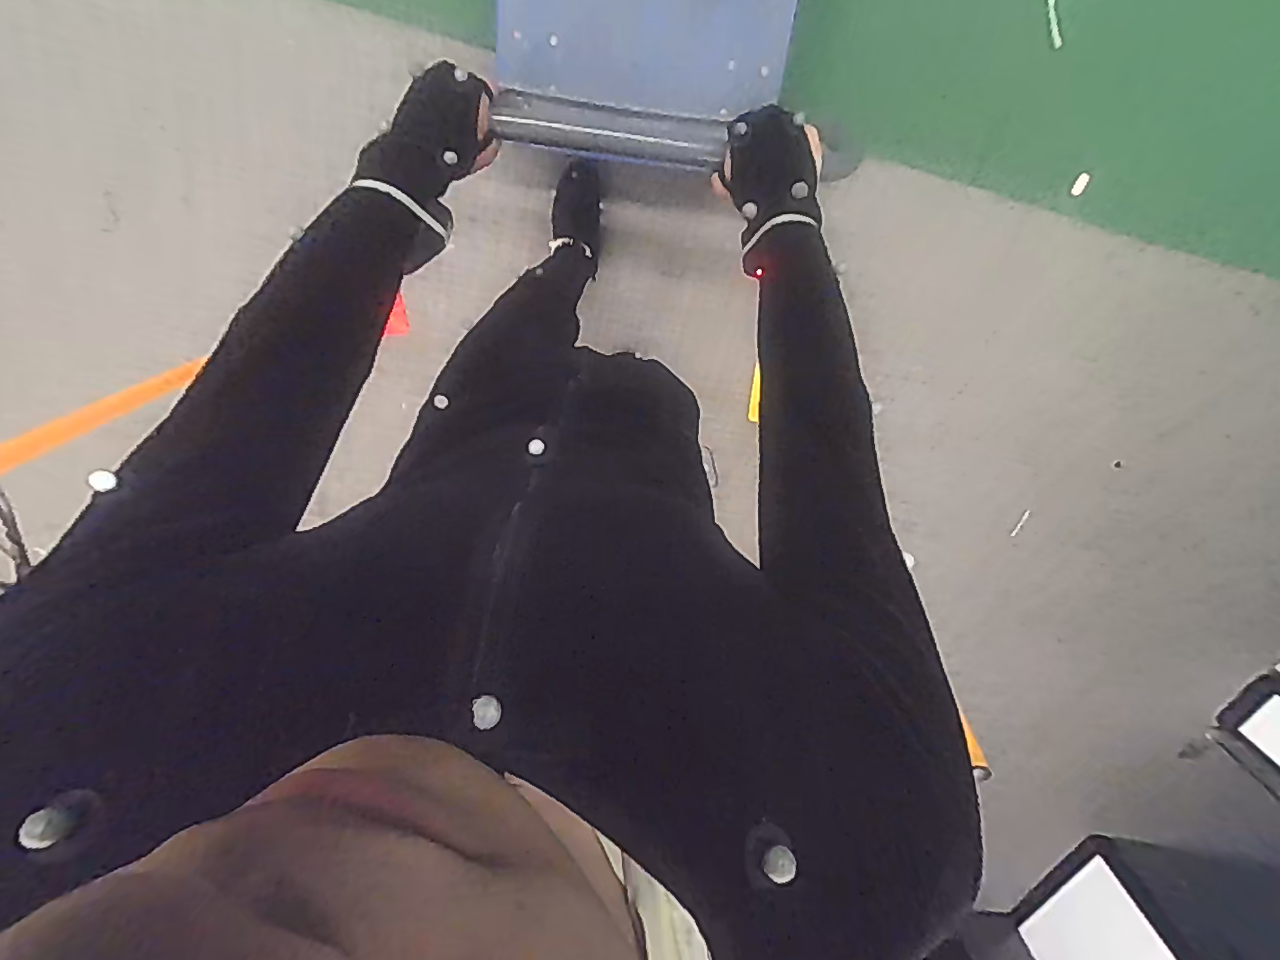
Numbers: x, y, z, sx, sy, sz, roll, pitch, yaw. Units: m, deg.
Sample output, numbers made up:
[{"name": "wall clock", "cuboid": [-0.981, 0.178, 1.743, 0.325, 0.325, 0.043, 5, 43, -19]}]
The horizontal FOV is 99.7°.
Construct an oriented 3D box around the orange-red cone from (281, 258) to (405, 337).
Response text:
[{"name": "orange-red cone", "cuboid": [-0.724, -0.398, 1.266, 0.199, 0.360, 0.198, -1, 118, 0]}]
